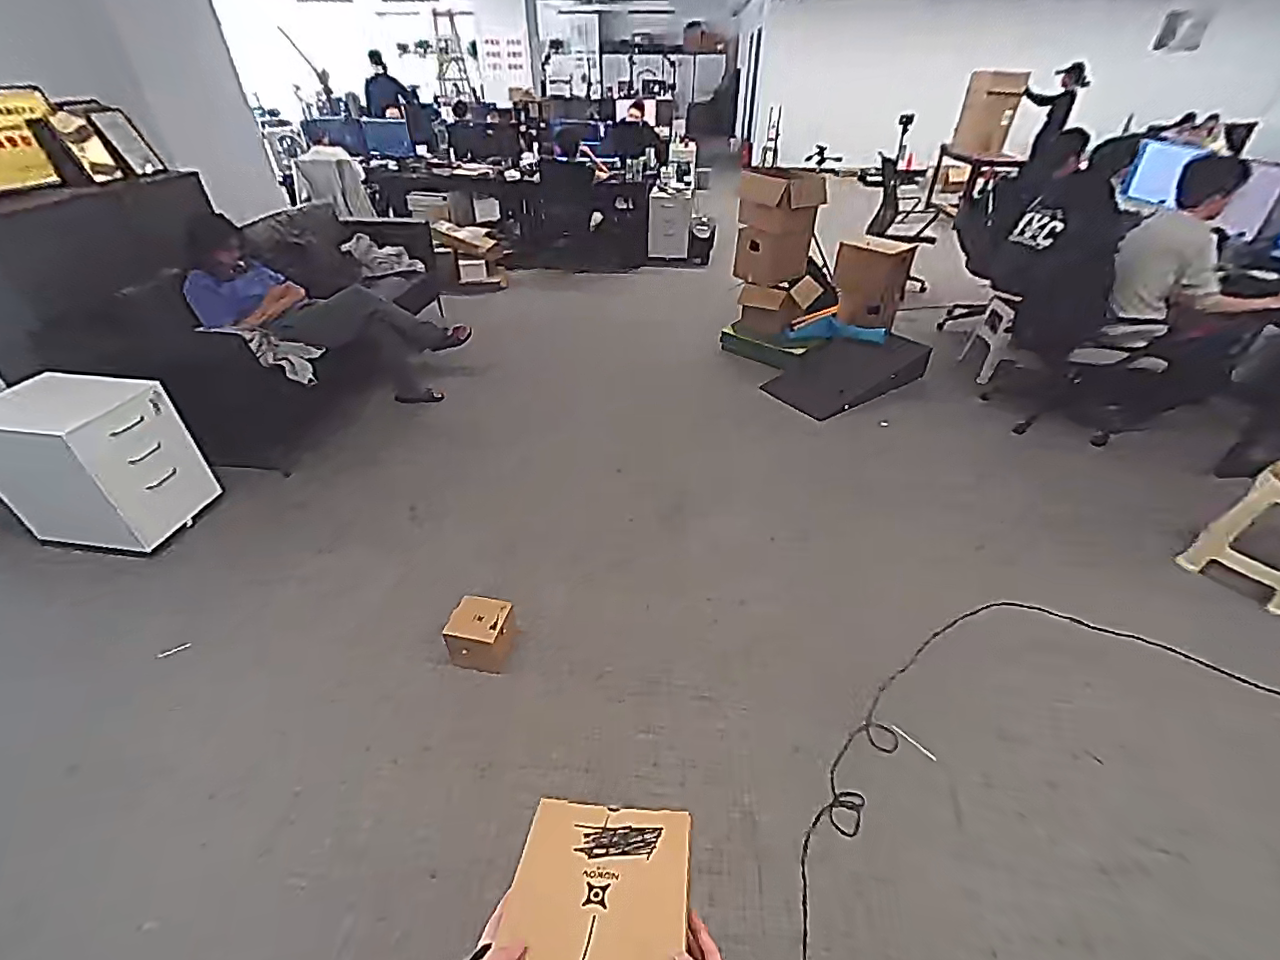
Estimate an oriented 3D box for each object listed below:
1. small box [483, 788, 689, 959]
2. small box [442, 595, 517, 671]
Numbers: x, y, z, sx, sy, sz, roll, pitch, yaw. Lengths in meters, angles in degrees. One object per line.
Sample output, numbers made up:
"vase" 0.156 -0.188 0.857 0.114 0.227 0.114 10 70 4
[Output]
"small box" -0.038 0.446 0.532 0.168 0.176 0.179 1 17 7
"small box" -0.529 0.512 1.806 0.179 0.176 0.168 7 36 10
